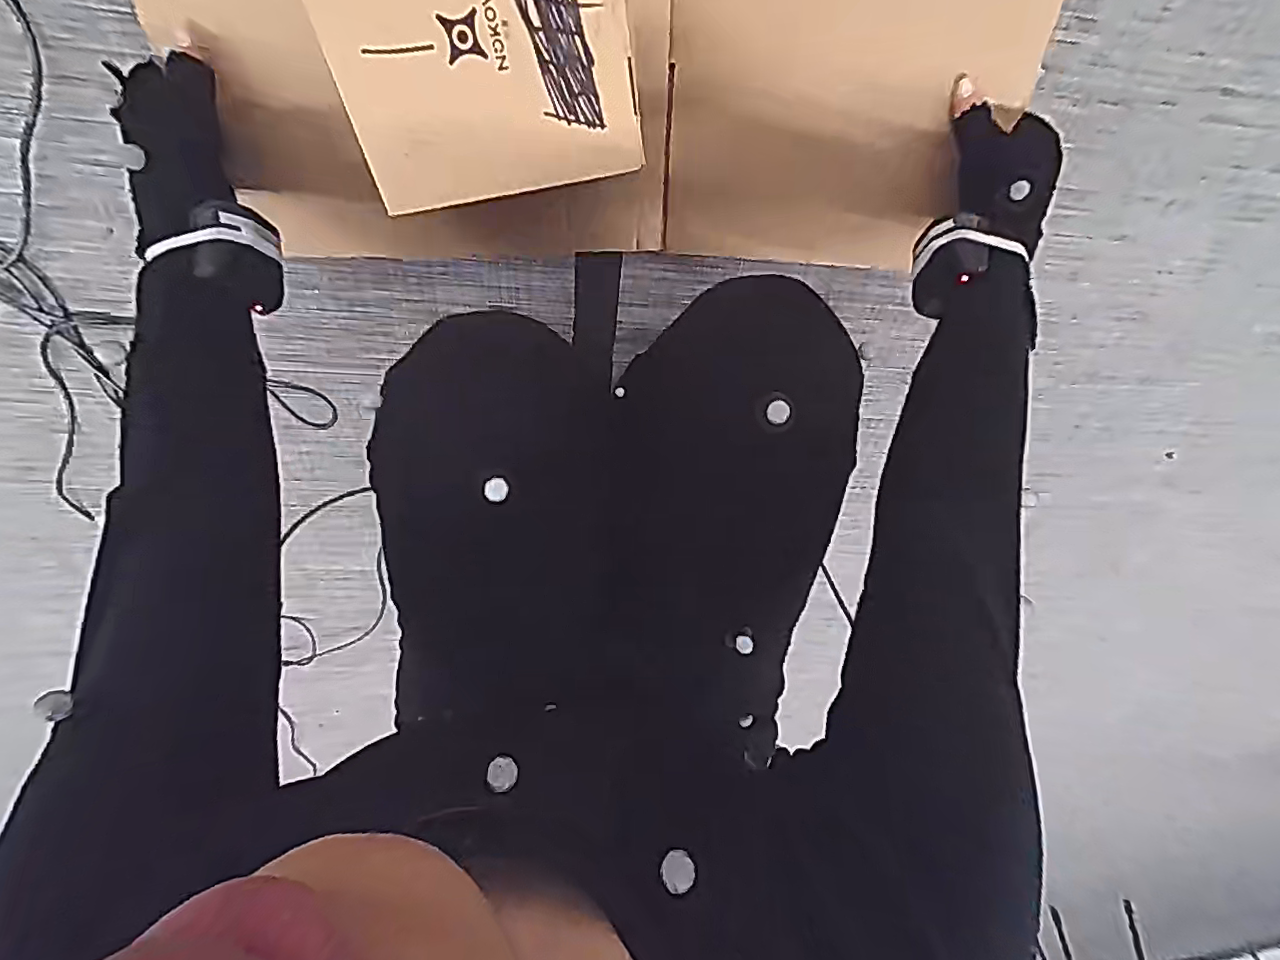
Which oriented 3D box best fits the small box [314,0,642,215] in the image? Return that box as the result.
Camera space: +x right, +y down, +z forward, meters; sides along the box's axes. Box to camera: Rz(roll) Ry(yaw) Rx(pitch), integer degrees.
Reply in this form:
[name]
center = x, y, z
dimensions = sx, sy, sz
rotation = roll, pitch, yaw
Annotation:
[small box]
center = -0.105, -0.309, 0.382
dimensions = 0.179, 0.176, 0.168
rotation = -11, 130, -2
